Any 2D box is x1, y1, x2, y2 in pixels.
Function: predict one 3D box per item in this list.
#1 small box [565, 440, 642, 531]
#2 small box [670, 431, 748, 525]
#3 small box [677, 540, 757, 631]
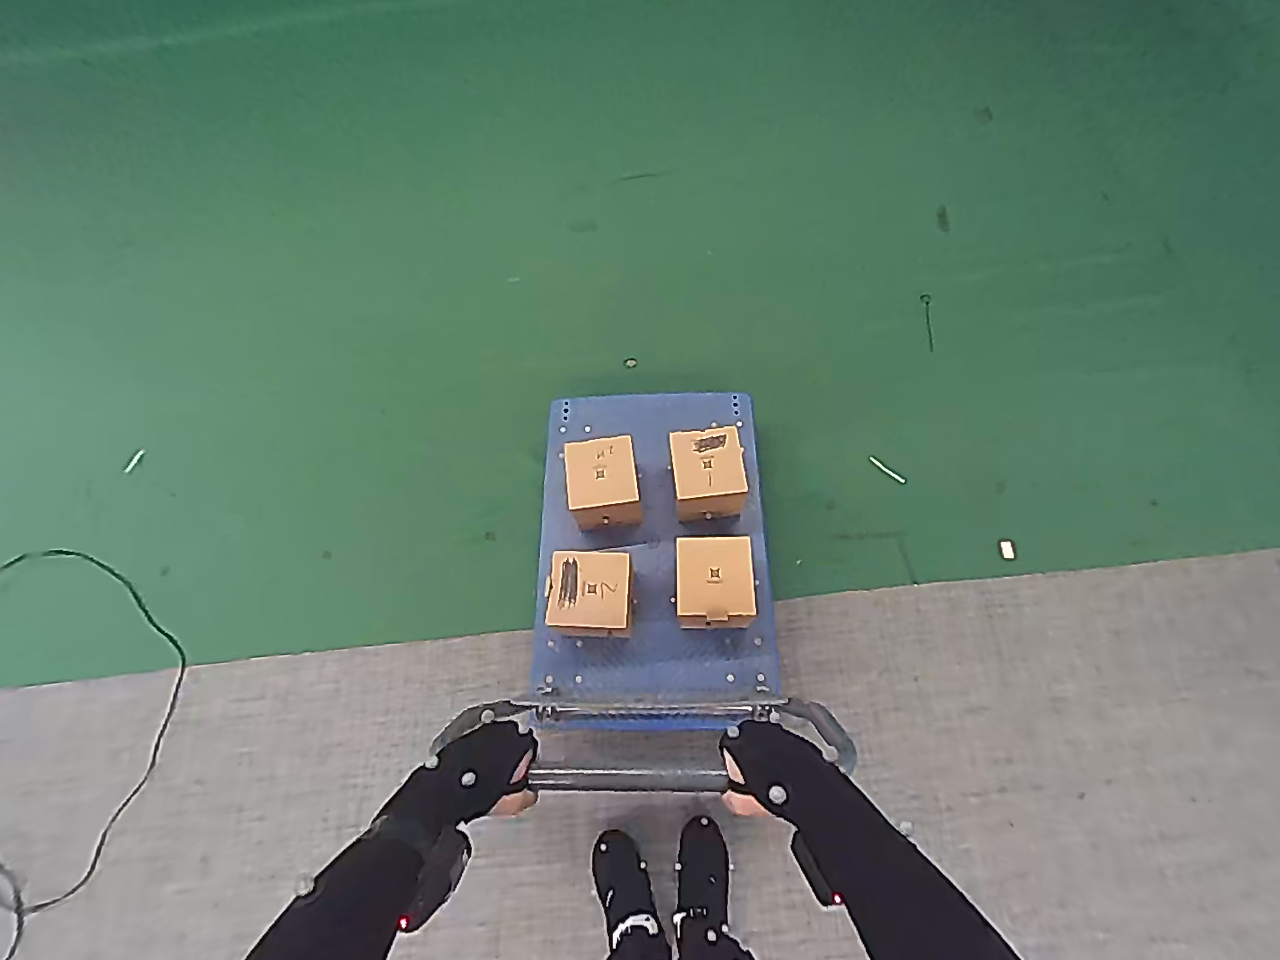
[{"bbox_3d":[-0.088,0.022,1.350,0.168,0.176,0.179,-7,67,0],"label":"small box"},{"bbox_3d":[0.165,-0.002,1.344,0.168,0.176,0.179,-6,67,1],"label":"small box"},{"bbox_3d":[0.168,0.246,1.241,0.168,0.176,0.179,-1,68,3],"label":"small box"}]
